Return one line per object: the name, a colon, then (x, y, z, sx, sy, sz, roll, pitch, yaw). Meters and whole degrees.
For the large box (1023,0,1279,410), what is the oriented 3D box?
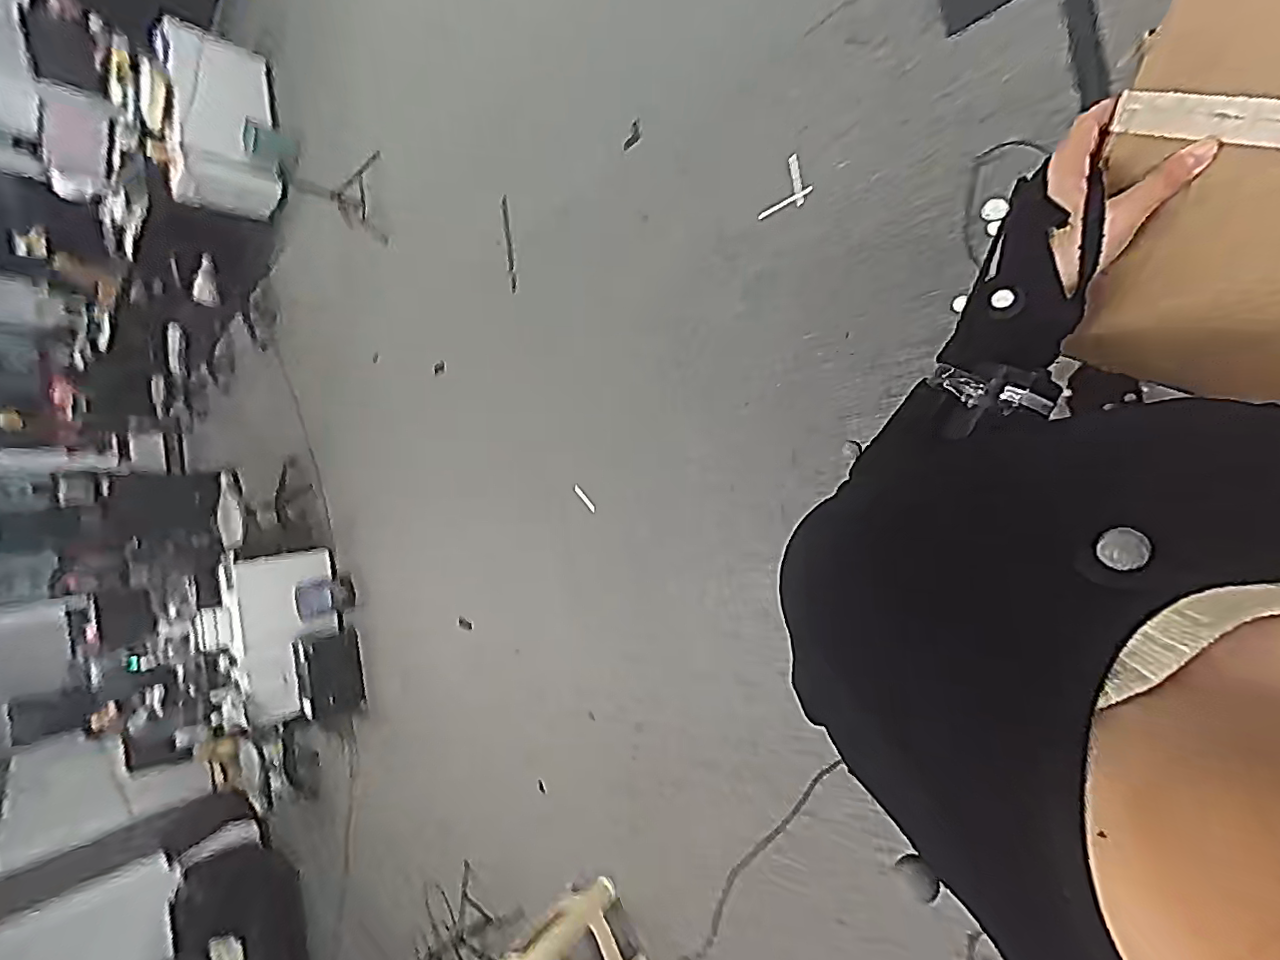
large box: (0.537, -0.219, 0.301, 0.408, 0.320, 0.320, 31, 145, 34)

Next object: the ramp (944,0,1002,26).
ramp: (0.735, -1.508, 0.989, 0.509, 0.206, 0.991, -13, 87, 40)
